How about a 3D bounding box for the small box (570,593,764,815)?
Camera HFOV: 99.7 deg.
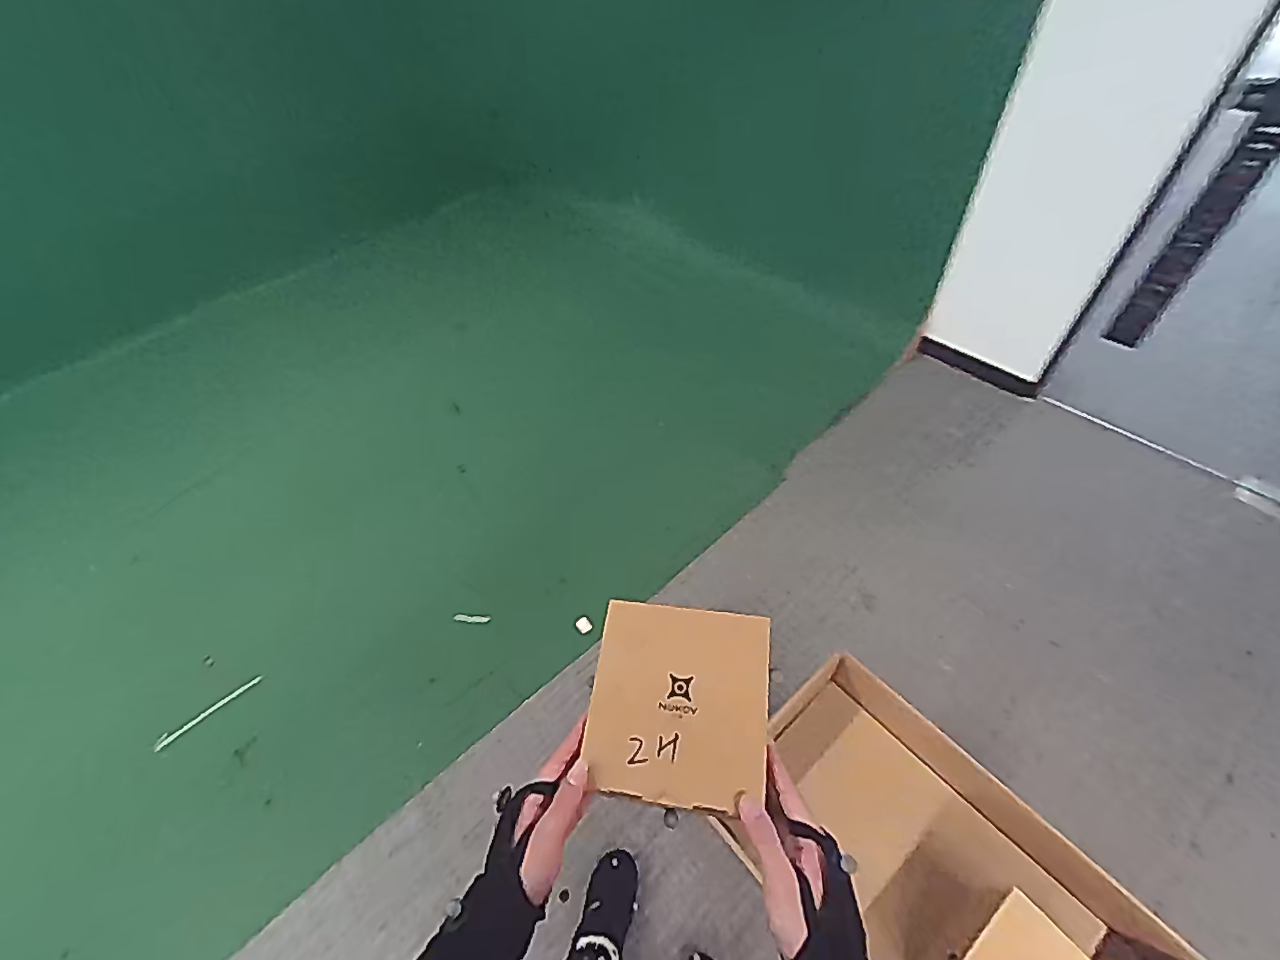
[{"bbox_3d":[0.037,0.240,0.574,0.168,0.176,0.179,4,58,9],"label":"small box"}]
